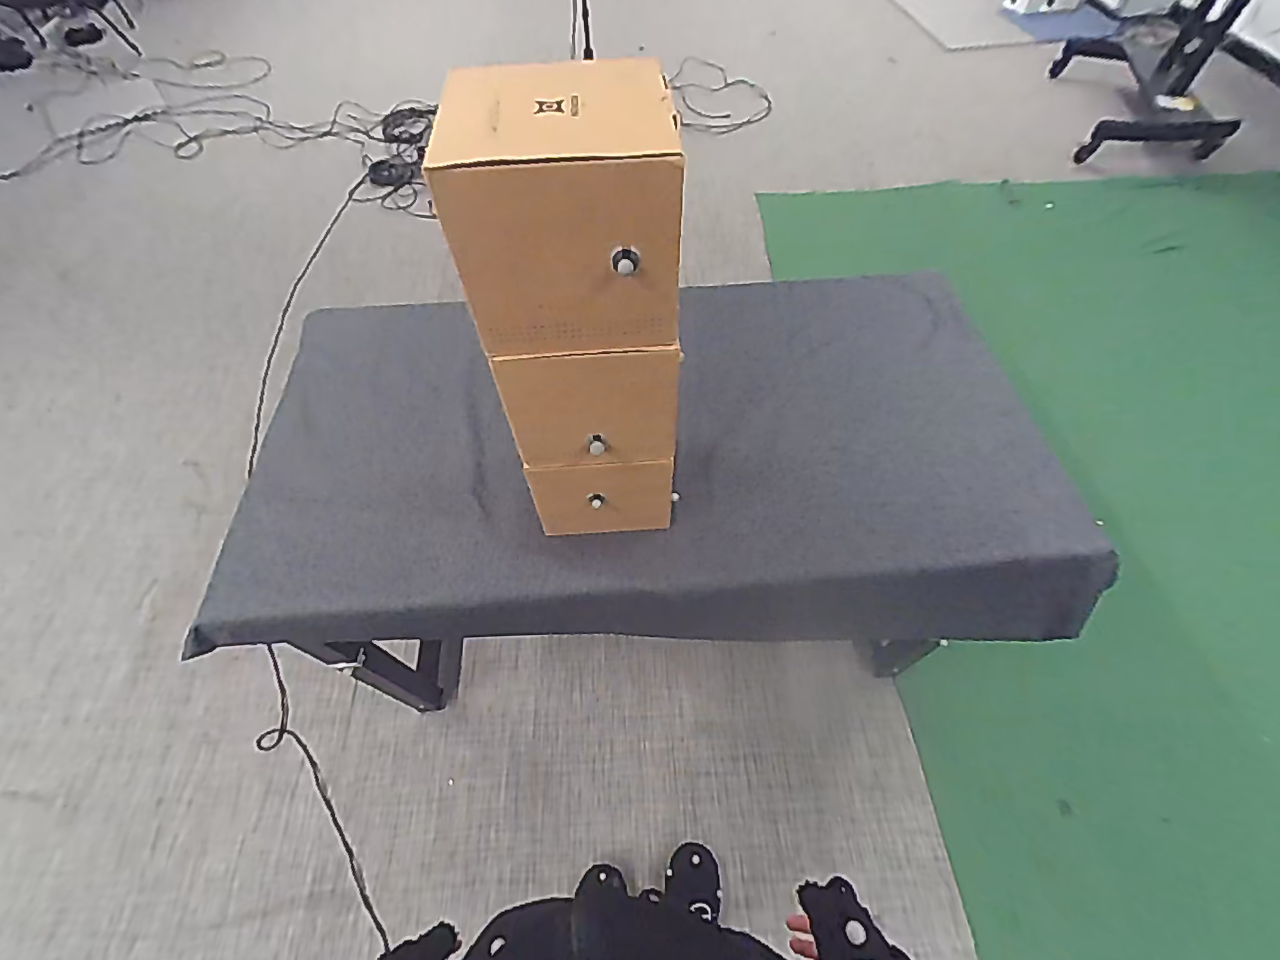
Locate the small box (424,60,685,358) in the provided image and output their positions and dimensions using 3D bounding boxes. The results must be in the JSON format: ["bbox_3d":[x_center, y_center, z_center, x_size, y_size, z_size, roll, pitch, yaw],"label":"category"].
[{"bbox_3d":[-0.060,-0.225,0.467,0.179,0.176,0.168,-5,56,0],"label":"small box"}]

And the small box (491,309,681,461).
[{"bbox_3d":[-0.052,-0.134,0.601,0.179,0.176,0.168,-3,57,-1],"label":"small box"}]

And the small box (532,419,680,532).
[{"bbox_3d":[-0.048,-0.042,0.736,0.179,0.176,0.168,-5,58,-3],"label":"small box"}]
